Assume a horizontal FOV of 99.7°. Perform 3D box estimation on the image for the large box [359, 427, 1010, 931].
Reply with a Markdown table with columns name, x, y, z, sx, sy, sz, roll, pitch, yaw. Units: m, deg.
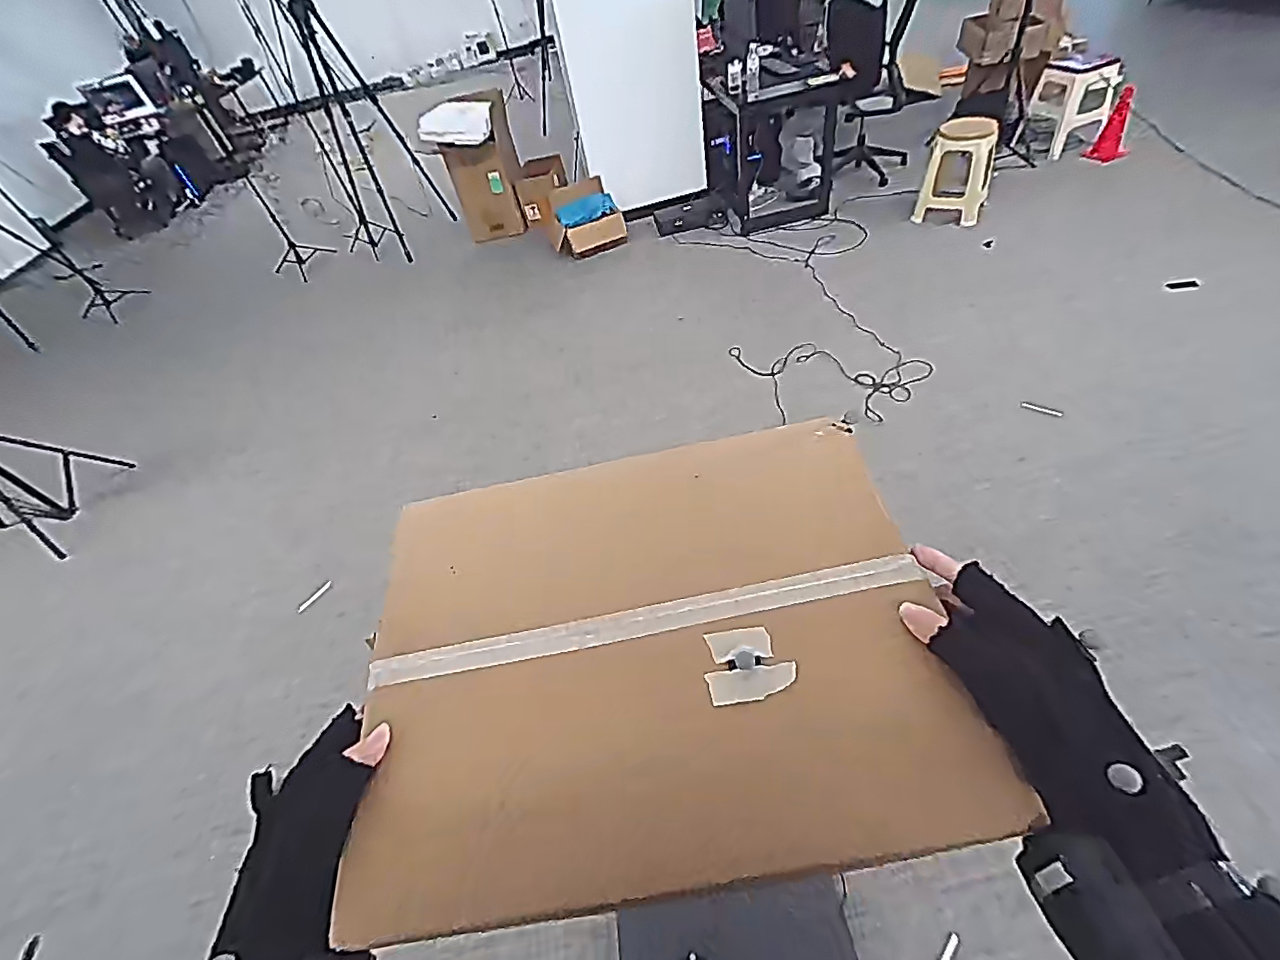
| name | x | y | z | sx | sy | sz | roll | pitch | yaw |
| --- | --- | --- | --- | --- | --- | --- | --- | --- | --- |
| large box | 0.023 | 0.199 | 0.525 | 0.408 | 0.320 | 0.320 | -11 | 52 | 2 |
